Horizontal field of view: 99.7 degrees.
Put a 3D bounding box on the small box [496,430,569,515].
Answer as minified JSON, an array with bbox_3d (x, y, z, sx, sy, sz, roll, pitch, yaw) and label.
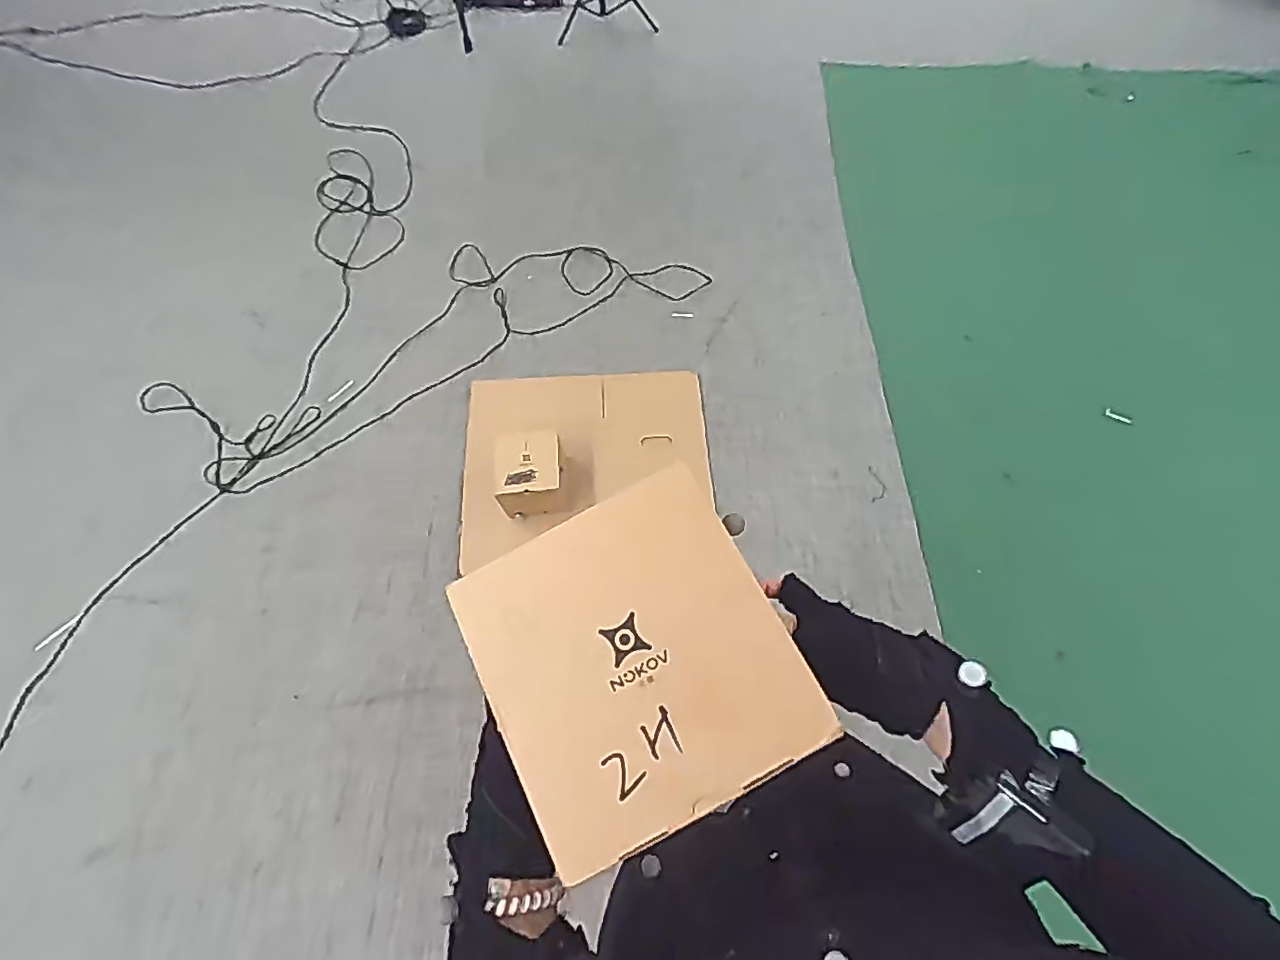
[{"bbox_3d":[-0.281,-0.012,1.439,0.168,0.176,0.179,-5,66,-2],"label":"small box"}]

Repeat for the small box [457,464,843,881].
[{"bbox_3d":[0.006,0.120,0.380,0.168,0.176,0.179,-28,73,-1],"label":"small box"}]
